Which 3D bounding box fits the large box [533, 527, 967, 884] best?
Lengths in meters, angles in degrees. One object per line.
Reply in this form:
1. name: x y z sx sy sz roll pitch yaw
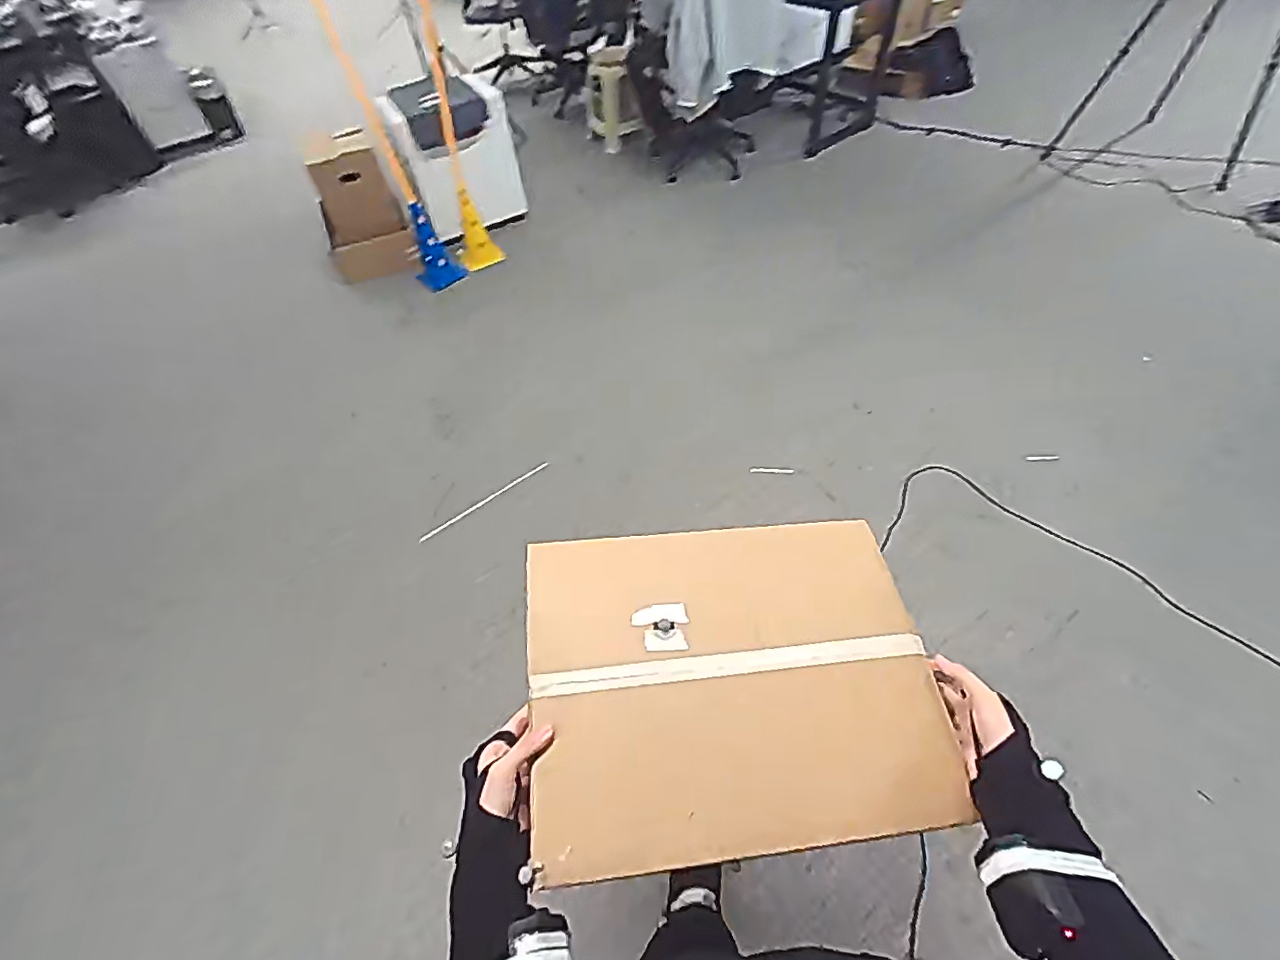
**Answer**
1. large box: 0.086 0.279 0.681 0.408 0.320 0.320 -3 56 -6
